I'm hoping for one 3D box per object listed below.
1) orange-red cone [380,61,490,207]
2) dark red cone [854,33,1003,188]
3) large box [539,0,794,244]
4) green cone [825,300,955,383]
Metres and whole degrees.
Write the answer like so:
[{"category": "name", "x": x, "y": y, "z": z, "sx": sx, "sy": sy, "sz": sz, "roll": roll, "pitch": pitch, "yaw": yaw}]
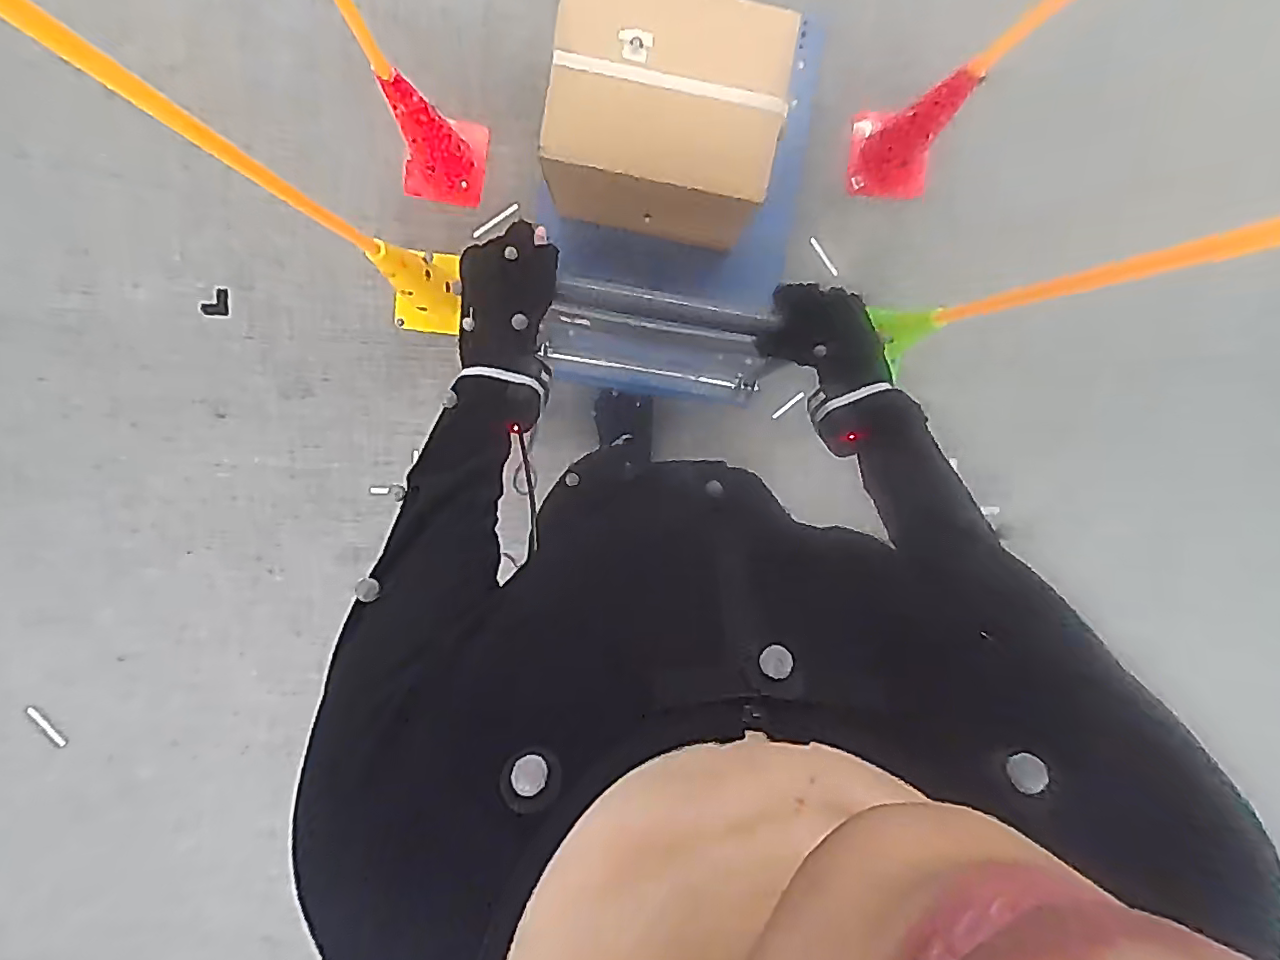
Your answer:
[{"category": "orange-red cone", "x": -0.485, "y": -0.797, "z": 1.203, "sx": 0.198, "sy": 0.360, "sz": 0.199, "roll": 10, "pitch": 94, "yaw": -3}, {"category": "dark red cone", "x": 0.649, "y": -0.829, "z": 1.199, "sx": 0.201, "sy": 0.394, "sz": 0.202, "roll": 2, "pitch": 96, "yaw": -3}, {"category": "large box", "x": 0.043, "y": -0.697, "z": 1.075, "sx": 0.408, "sy": 0.320, "sz": 0.320, "roll": 10, "pitch": 97, "yaw": -2}, {"category": "green cone", "x": 0.604, "y": -0.350, "z": 1.264, "sx": 0.202, "sy": 0.368, "sz": 0.200, "roll": 6, "pitch": 95, "yaw": -3}]
